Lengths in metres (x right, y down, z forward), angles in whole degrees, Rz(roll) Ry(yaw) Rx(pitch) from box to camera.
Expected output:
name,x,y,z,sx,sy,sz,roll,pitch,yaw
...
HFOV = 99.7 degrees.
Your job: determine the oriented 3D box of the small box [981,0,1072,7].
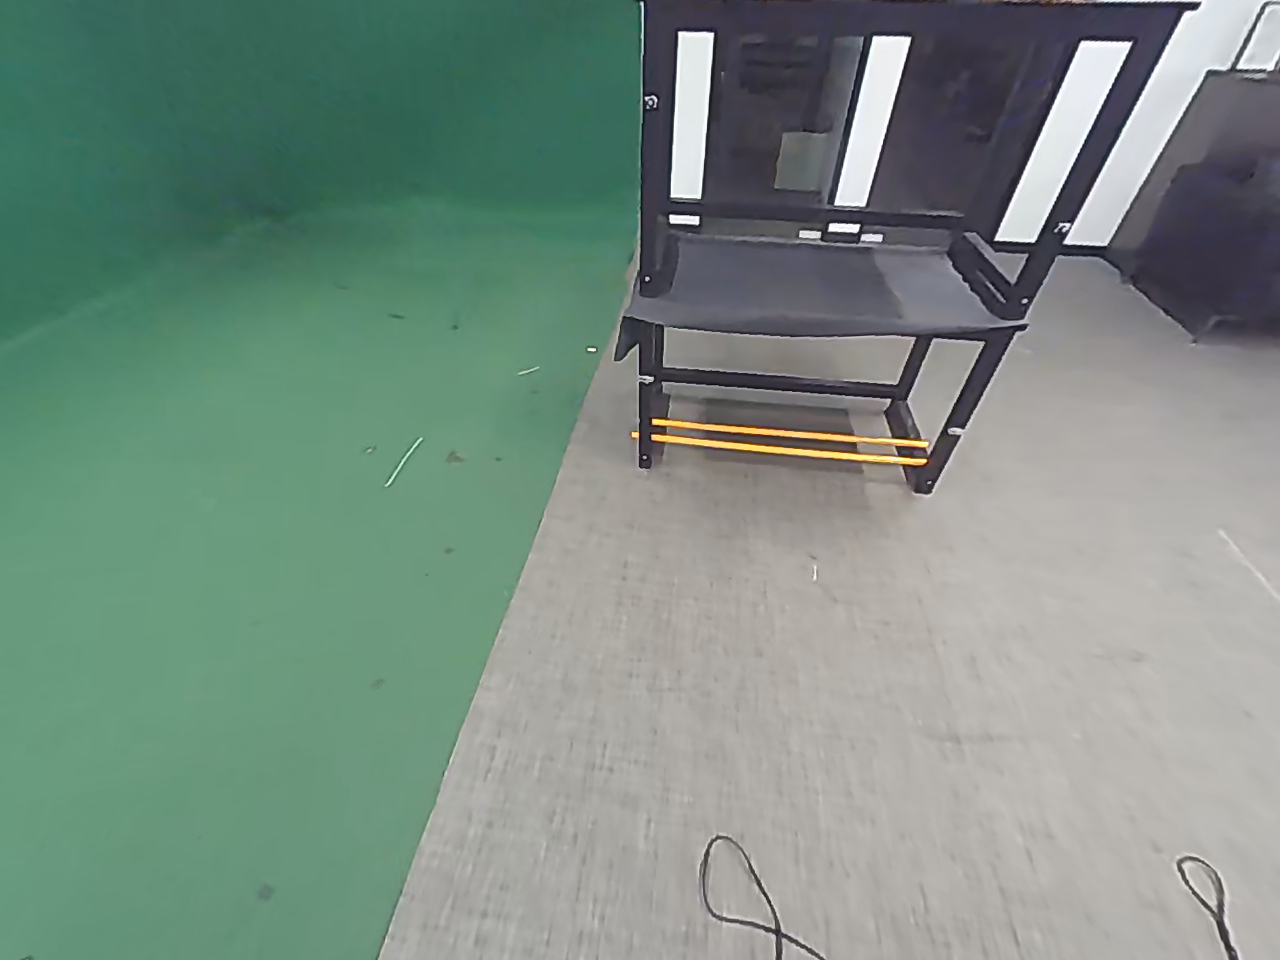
name,x,y,z,sx,sy,sz,roll,pitch,yaw
small box,0.897,-1.174,1.209,0.168,0.176,0.179,11,44,11
